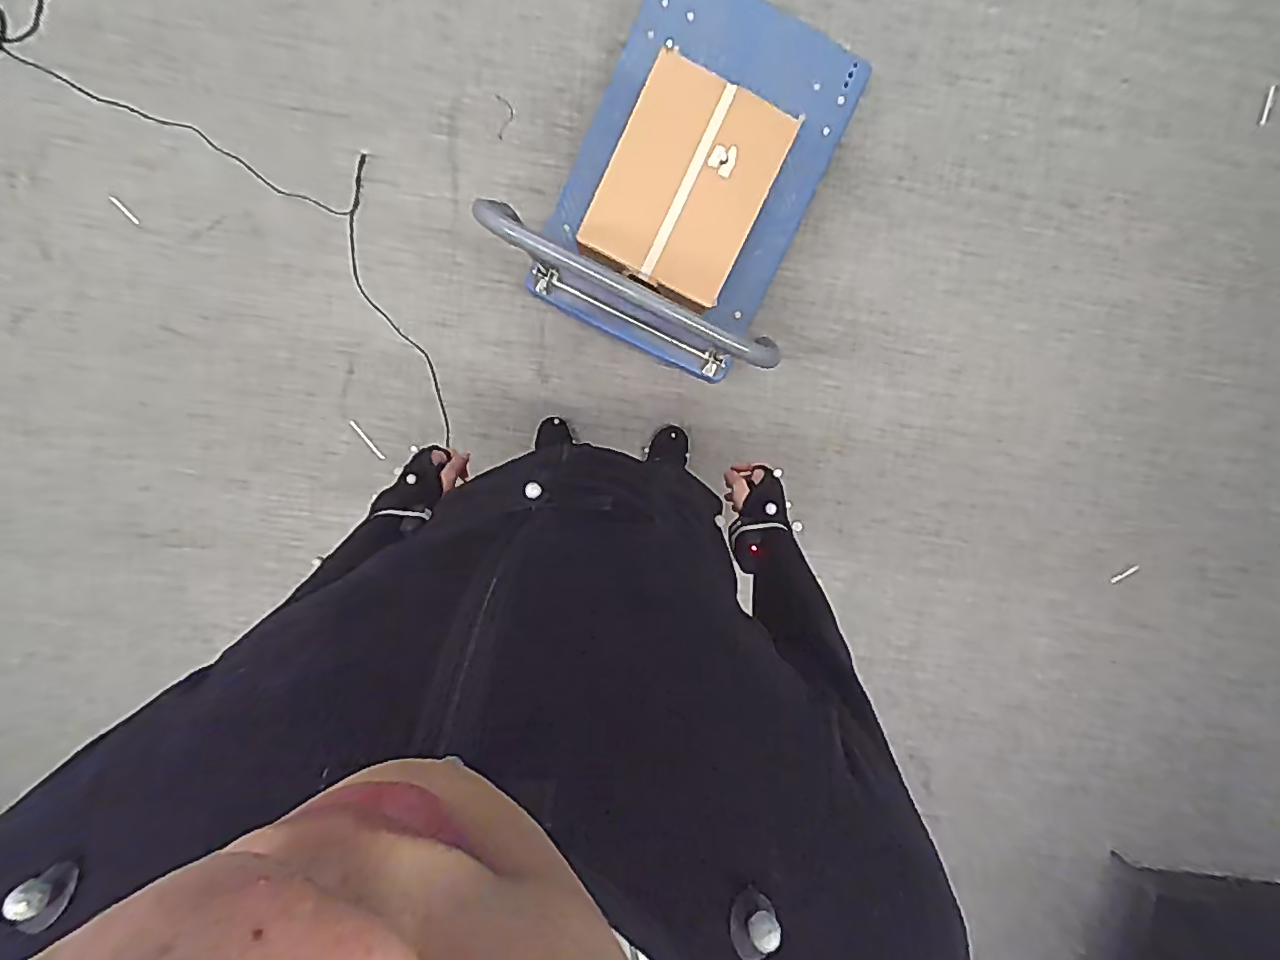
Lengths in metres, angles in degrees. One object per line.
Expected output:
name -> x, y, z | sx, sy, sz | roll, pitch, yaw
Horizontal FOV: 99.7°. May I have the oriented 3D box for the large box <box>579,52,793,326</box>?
large box -> 0.087, -0.625, 1.246 | 0.320, 0.320, 0.408 | 26, 95, -6
